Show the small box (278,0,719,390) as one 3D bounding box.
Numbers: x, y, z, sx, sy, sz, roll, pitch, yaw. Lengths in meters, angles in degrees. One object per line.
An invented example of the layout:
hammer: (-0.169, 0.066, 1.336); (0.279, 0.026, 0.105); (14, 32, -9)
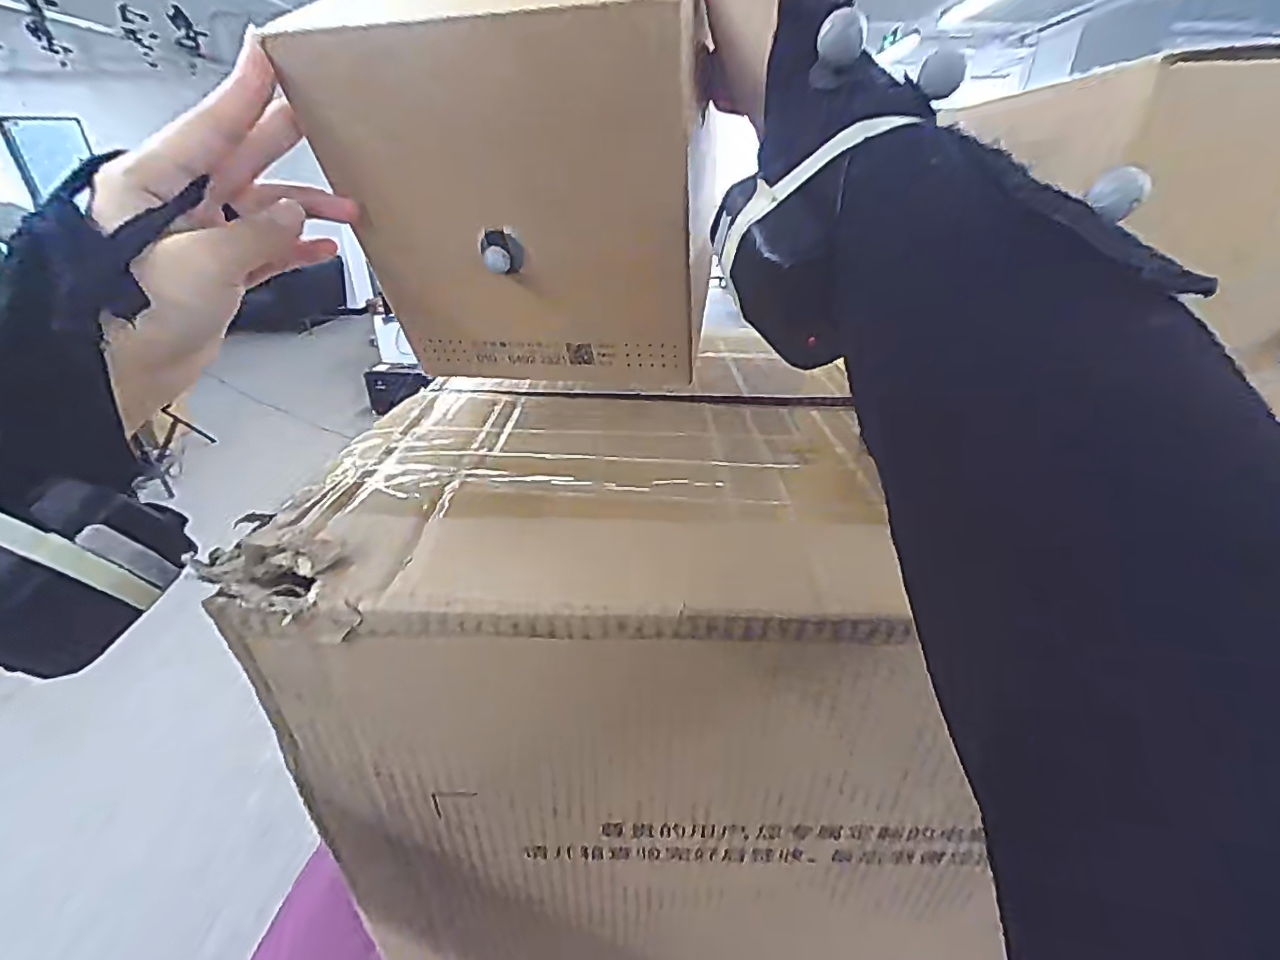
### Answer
small box: (-0.043, -0.169, 0.311); (0.168, 0.176, 0.179); (5, 50, 10)

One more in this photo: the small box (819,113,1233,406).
small box: (0.243, -0.159, 0.403); (0.179, 0.176, 0.168); (1, 28, 1)
